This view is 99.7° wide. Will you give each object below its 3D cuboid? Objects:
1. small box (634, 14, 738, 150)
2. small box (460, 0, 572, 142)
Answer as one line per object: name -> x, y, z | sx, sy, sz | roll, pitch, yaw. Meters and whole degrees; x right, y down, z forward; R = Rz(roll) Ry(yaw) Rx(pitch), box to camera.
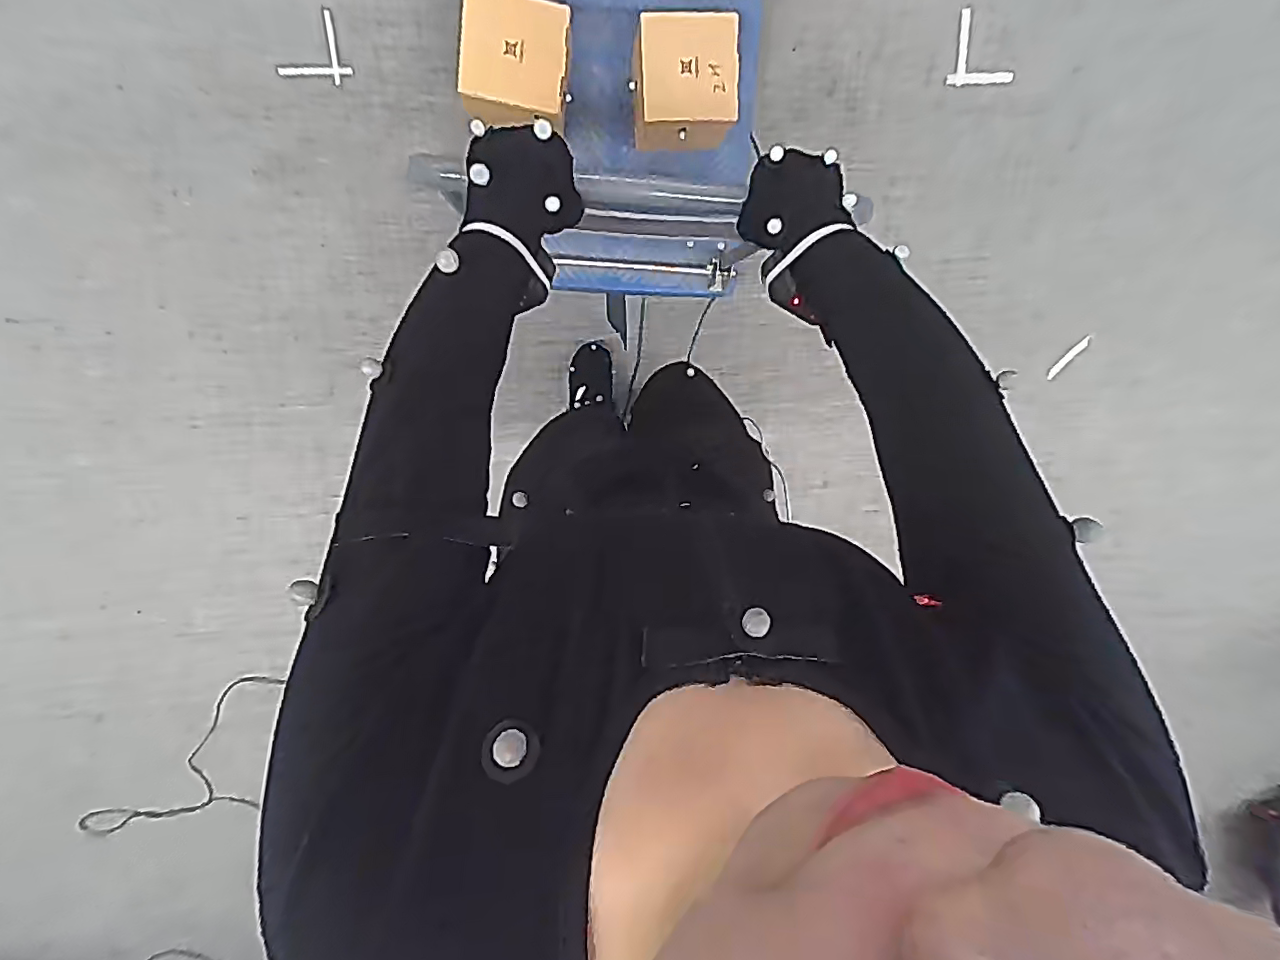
small box -> 0.081, -0.752, 1.038 | 0.179, 0.176, 0.168 | -4, 106, -5
small box -> -0.223, -0.755, 1.001 | 0.179, 0.176, 0.168 | 6, 104, -10
